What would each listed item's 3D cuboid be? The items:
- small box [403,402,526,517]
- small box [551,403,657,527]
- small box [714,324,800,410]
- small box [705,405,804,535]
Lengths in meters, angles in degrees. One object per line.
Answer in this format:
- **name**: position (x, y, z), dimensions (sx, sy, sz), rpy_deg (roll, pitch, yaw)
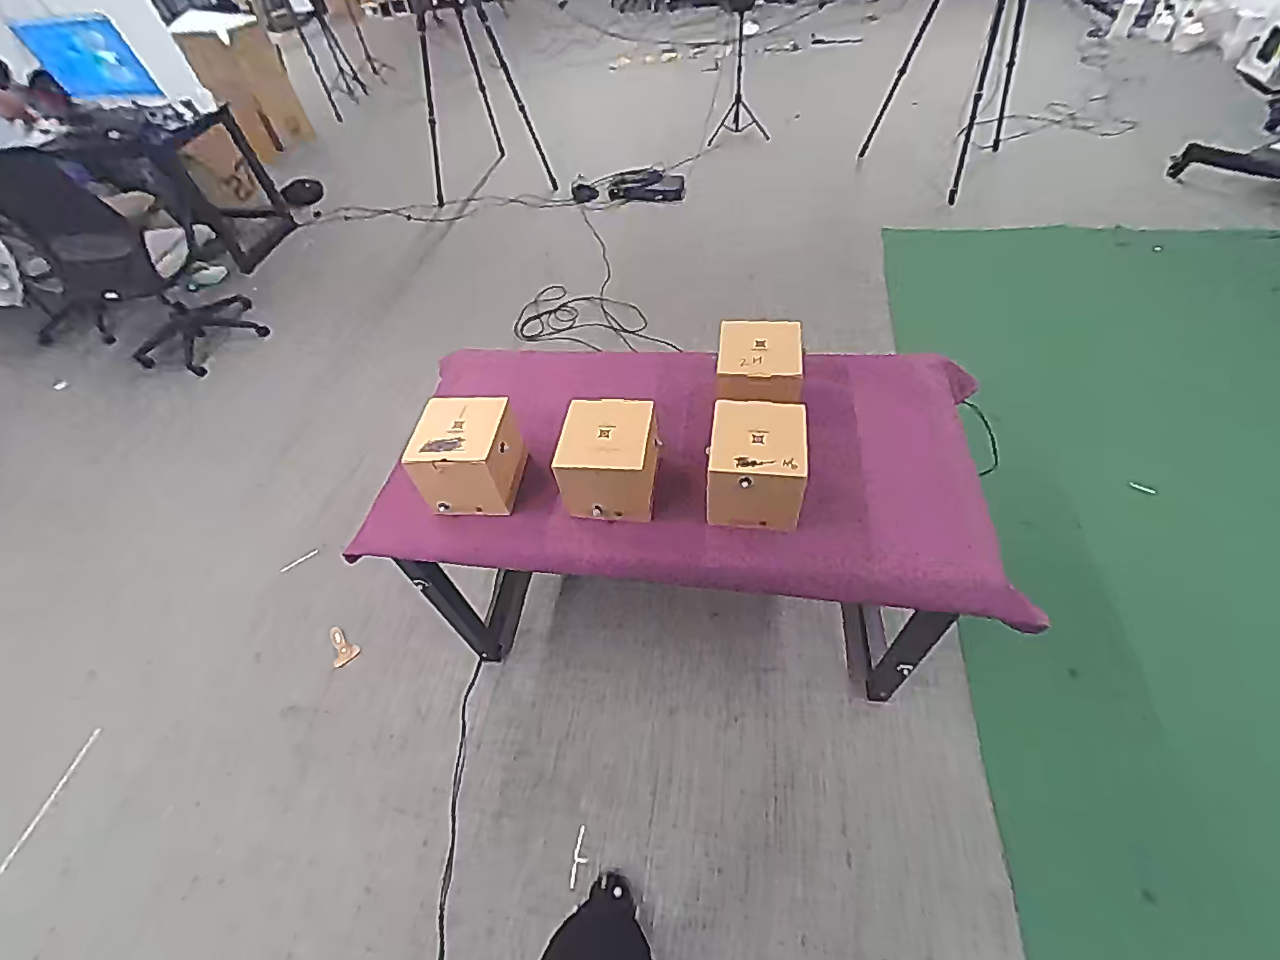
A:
- **small box**: position (-0.344, -0.038, 1.101), dimensions (0.168, 0.176, 0.179), rpy_deg (0, 50, 7)
- **small box**: position (-0.060, -0.030, 1.062), dimensions (0.168, 0.176, 0.179), rpy_deg (2, 52, 10)
- **small box**: position (0.249, -0.213, 1.165), dimensions (0.168, 0.176, 0.179), rpy_deg (3, 53, 11)
- **small box**: position (0.213, -0.019, 1.015), dimensions (0.168, 0.176, 0.179), rpy_deg (4, 51, 11)
